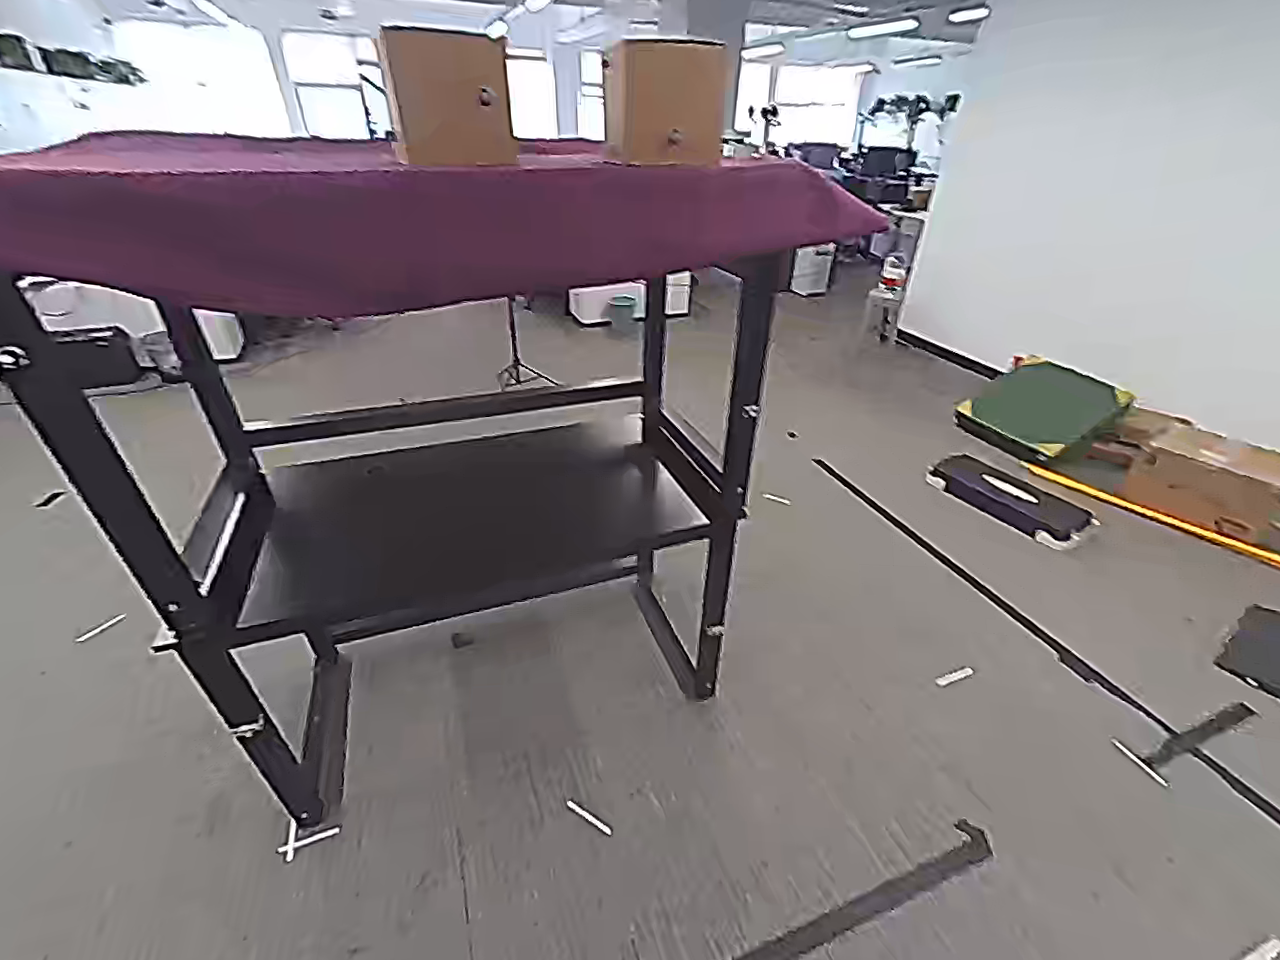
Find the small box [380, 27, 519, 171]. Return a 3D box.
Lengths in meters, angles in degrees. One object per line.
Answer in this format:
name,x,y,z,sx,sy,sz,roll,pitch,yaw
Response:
small box,-0.297,-0.597,0.862,0.179,0.176,0.168,-15,35,-21

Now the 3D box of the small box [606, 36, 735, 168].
small box,0.043,-0.641,0.930,0.179,0.176,0.168,-9,33,-14
